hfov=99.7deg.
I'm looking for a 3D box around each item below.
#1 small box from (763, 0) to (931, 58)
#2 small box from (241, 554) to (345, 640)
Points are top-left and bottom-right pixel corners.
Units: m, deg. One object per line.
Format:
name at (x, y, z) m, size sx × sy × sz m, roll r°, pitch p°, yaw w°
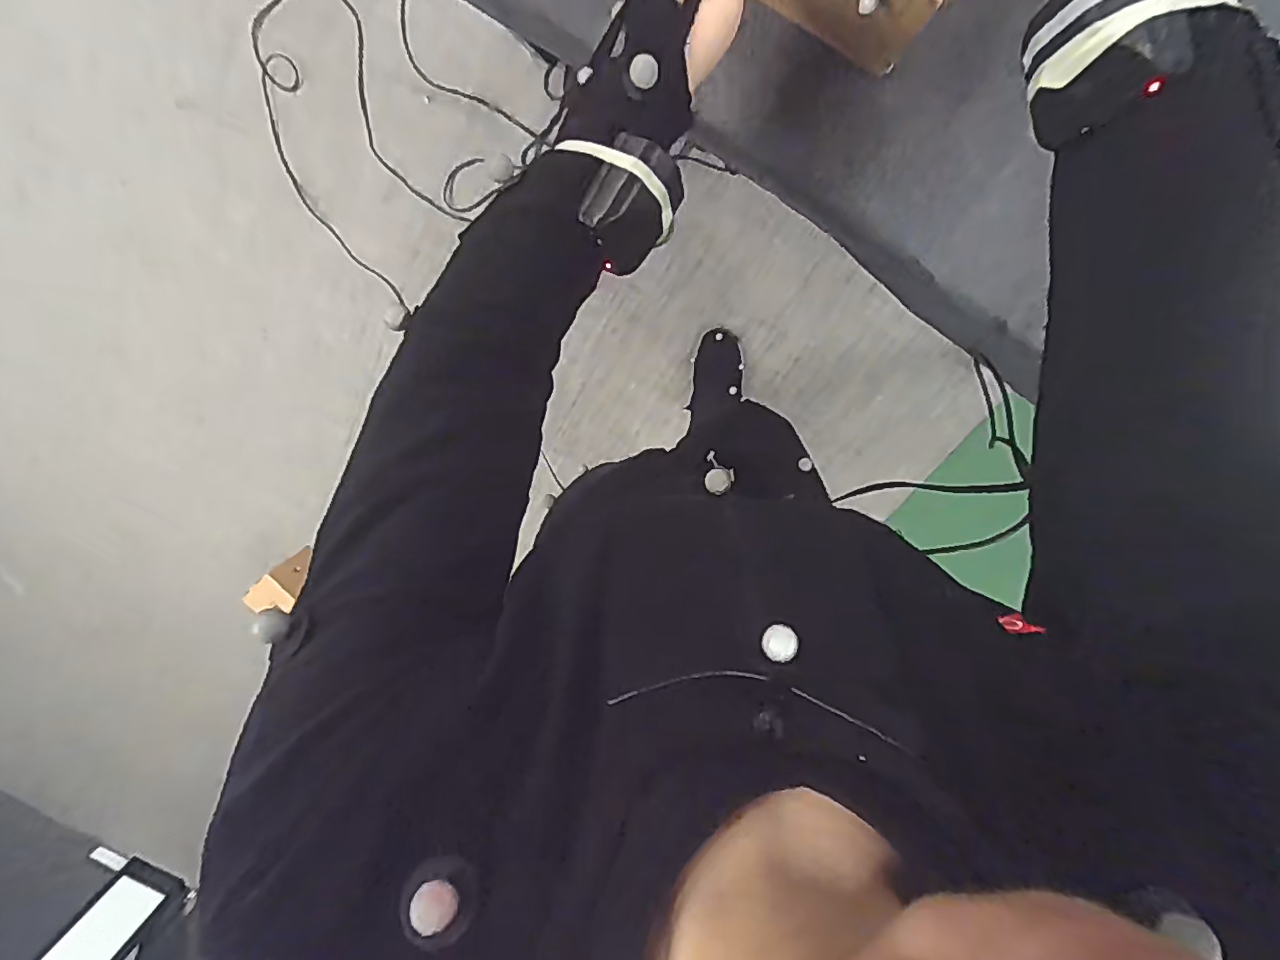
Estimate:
small box at (0.150, -0.415, 0.344) m, size 0.179 × 0.176 × 0.168 m, roll 28°, pitch 116°, yaw -3°
small box at (-1.071, 0.353, 1.680) m, size 0.168 × 0.176 × 0.179 m, roll -38°, pitch 103°, yaw 22°
